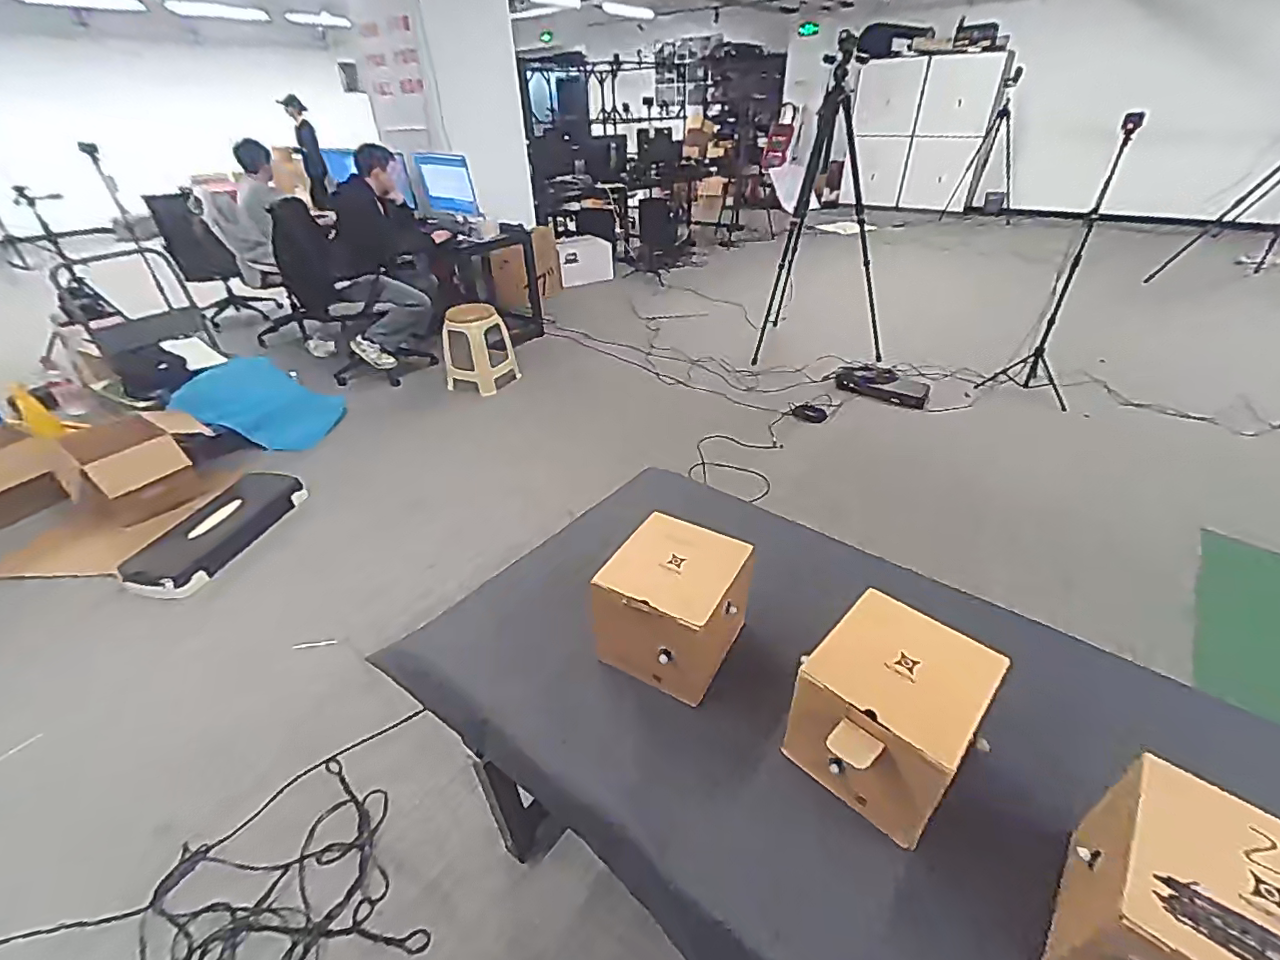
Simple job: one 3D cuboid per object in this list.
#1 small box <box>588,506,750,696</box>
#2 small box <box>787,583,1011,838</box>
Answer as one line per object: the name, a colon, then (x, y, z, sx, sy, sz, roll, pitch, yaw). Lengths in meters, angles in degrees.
small box: (0.044, 0.171, 0.778, 0.168, 0.176, 0.179, 19, 38, 25)
small box: (0.291, 0.263, 0.635, 0.168, 0.176, 0.179, 29, 45, 36)
